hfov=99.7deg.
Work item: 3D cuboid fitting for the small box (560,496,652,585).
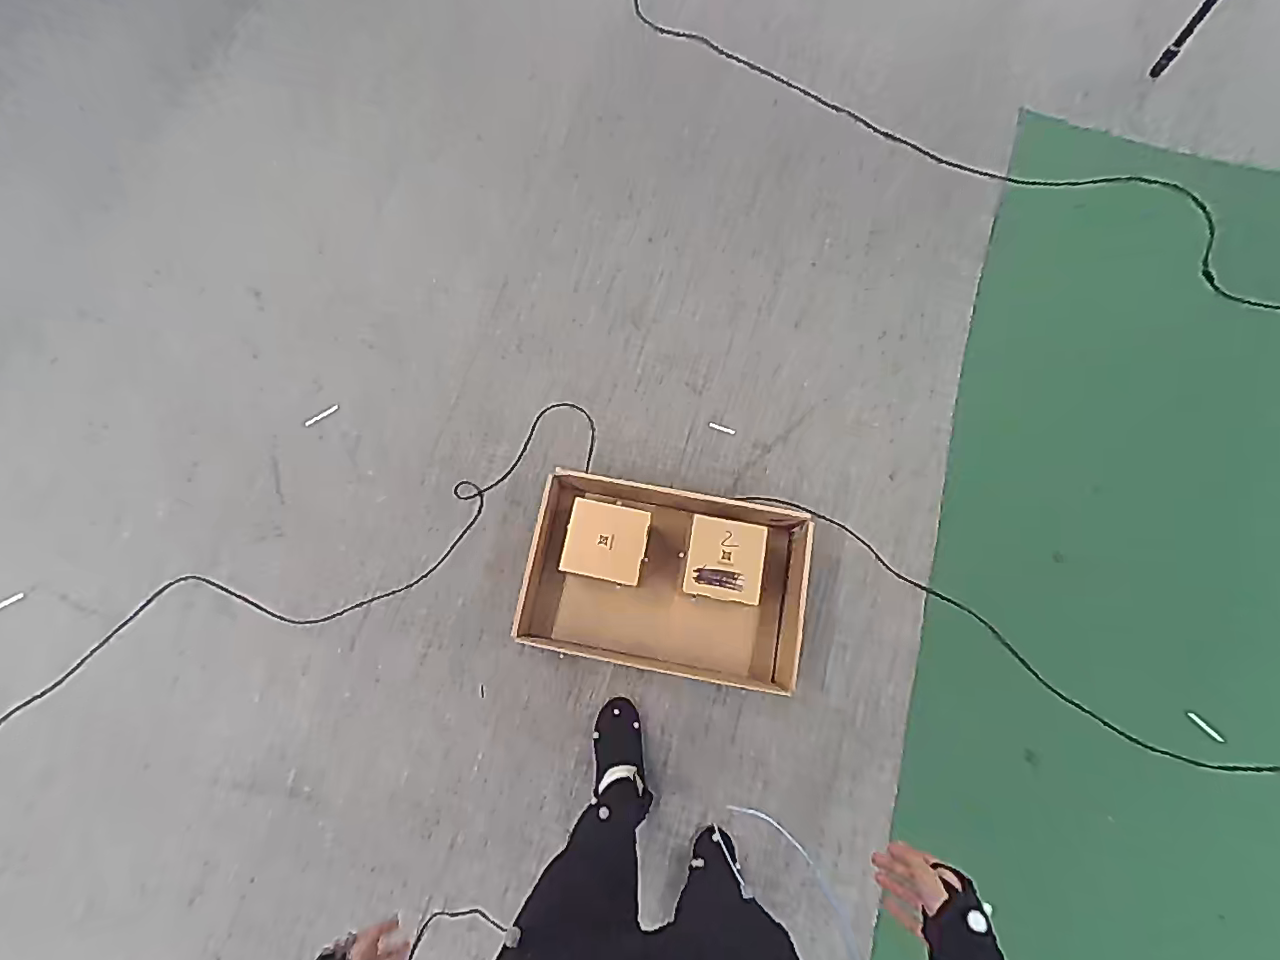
[{"bbox_3d":[-0.074,0.148,1.258,0.179,0.176,0.168,12,77,2],"label":"small box"}]
